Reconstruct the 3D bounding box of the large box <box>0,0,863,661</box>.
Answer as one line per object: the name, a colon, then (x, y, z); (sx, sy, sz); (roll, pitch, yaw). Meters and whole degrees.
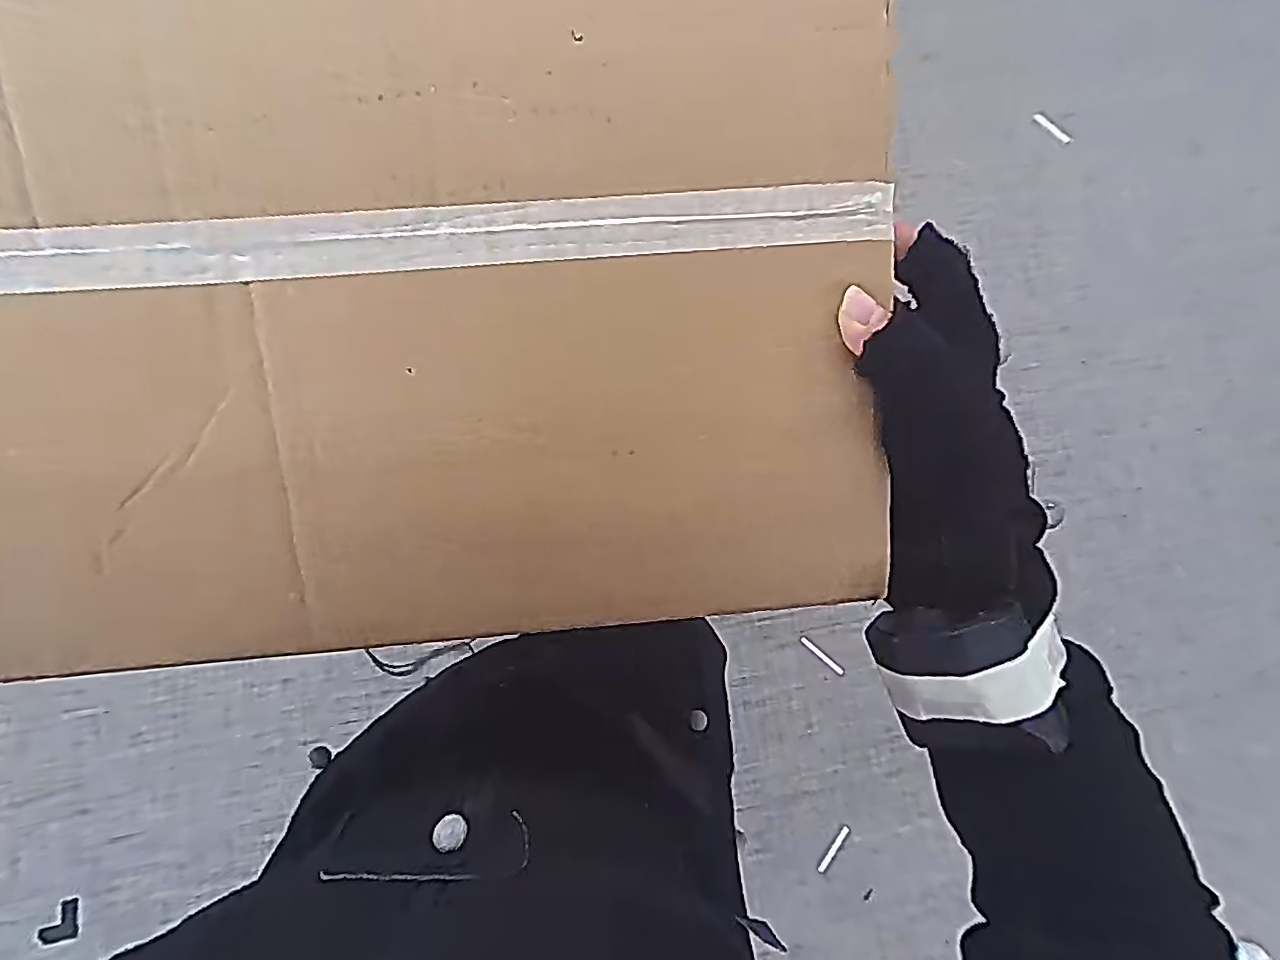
large box: (-0.115, -0.113, 0.358); (0.408, 0.320, 0.320); (-4, 99, -4)
